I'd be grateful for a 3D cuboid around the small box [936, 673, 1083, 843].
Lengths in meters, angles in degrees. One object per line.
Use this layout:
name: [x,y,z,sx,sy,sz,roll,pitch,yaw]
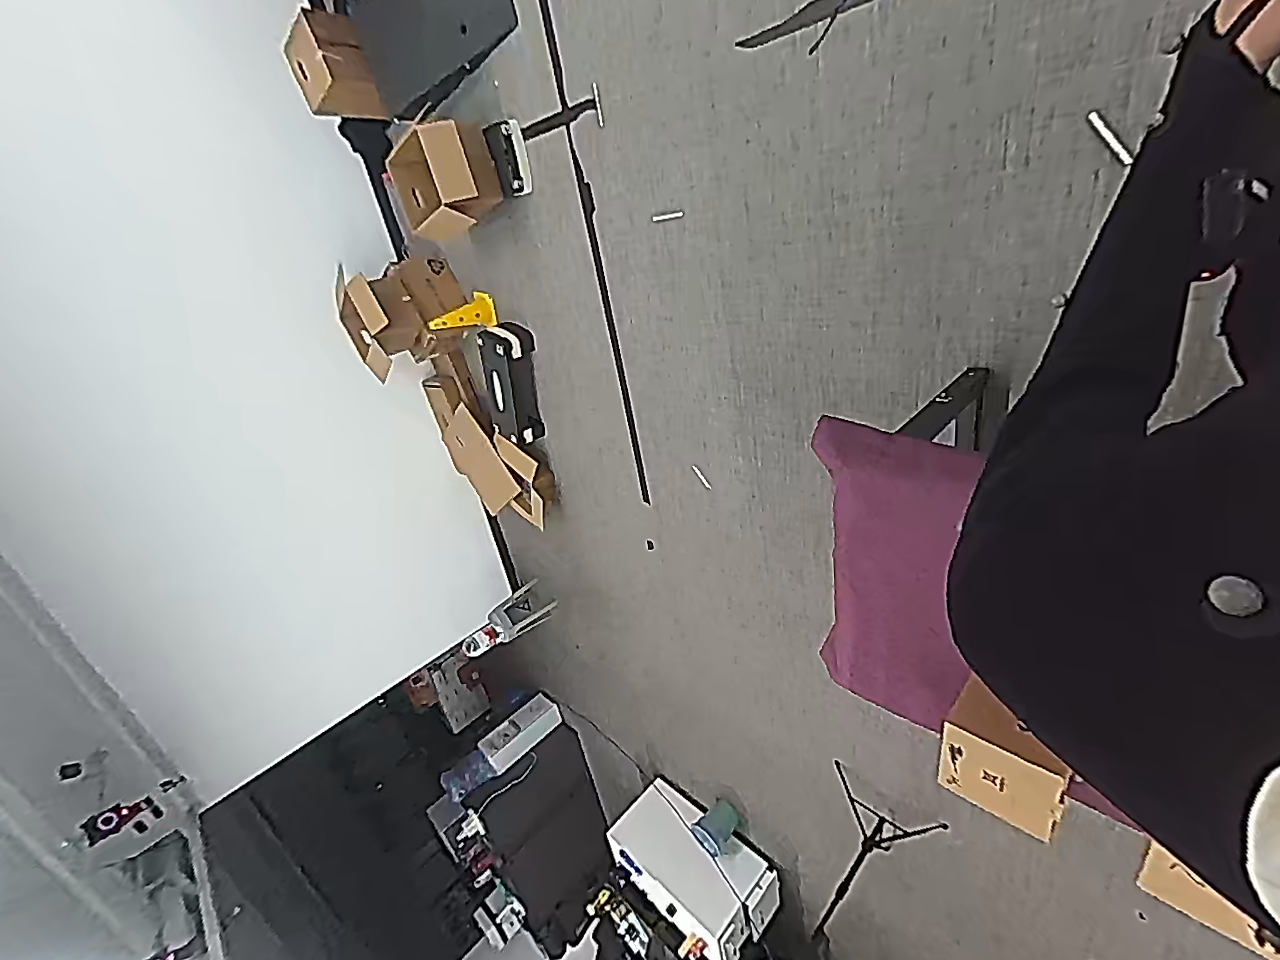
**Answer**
small box: [0.657,0.479,0.963,0.179,0.176,0.168,16,124,43]
